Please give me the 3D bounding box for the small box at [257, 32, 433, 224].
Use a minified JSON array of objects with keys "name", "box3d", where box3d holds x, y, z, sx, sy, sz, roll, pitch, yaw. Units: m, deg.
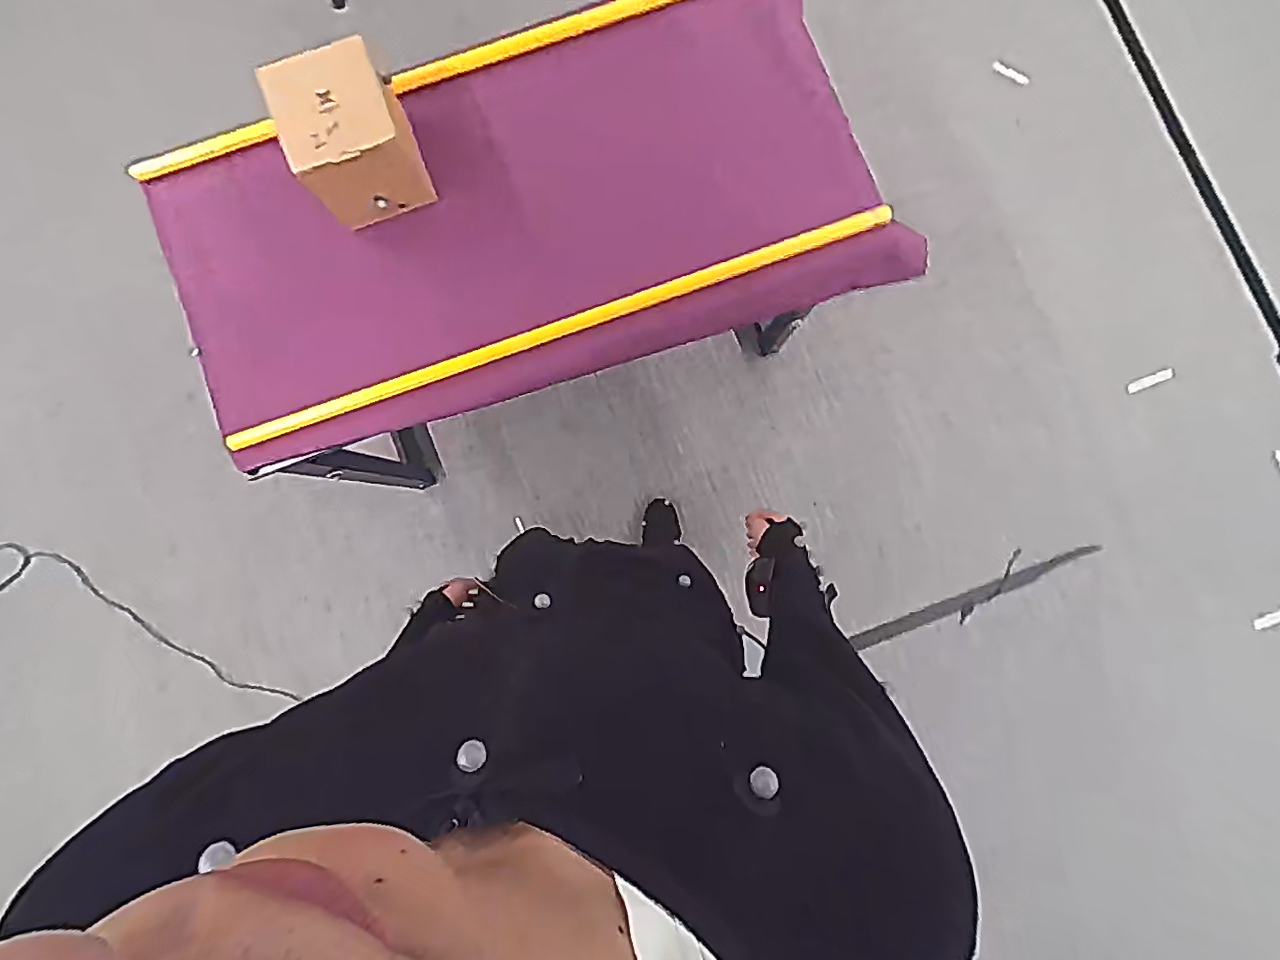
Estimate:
[{"name":"small box","box3d":[-0.468,-0.560,0.883,0.168,0.176,0.179,-20,88,-1]}]
